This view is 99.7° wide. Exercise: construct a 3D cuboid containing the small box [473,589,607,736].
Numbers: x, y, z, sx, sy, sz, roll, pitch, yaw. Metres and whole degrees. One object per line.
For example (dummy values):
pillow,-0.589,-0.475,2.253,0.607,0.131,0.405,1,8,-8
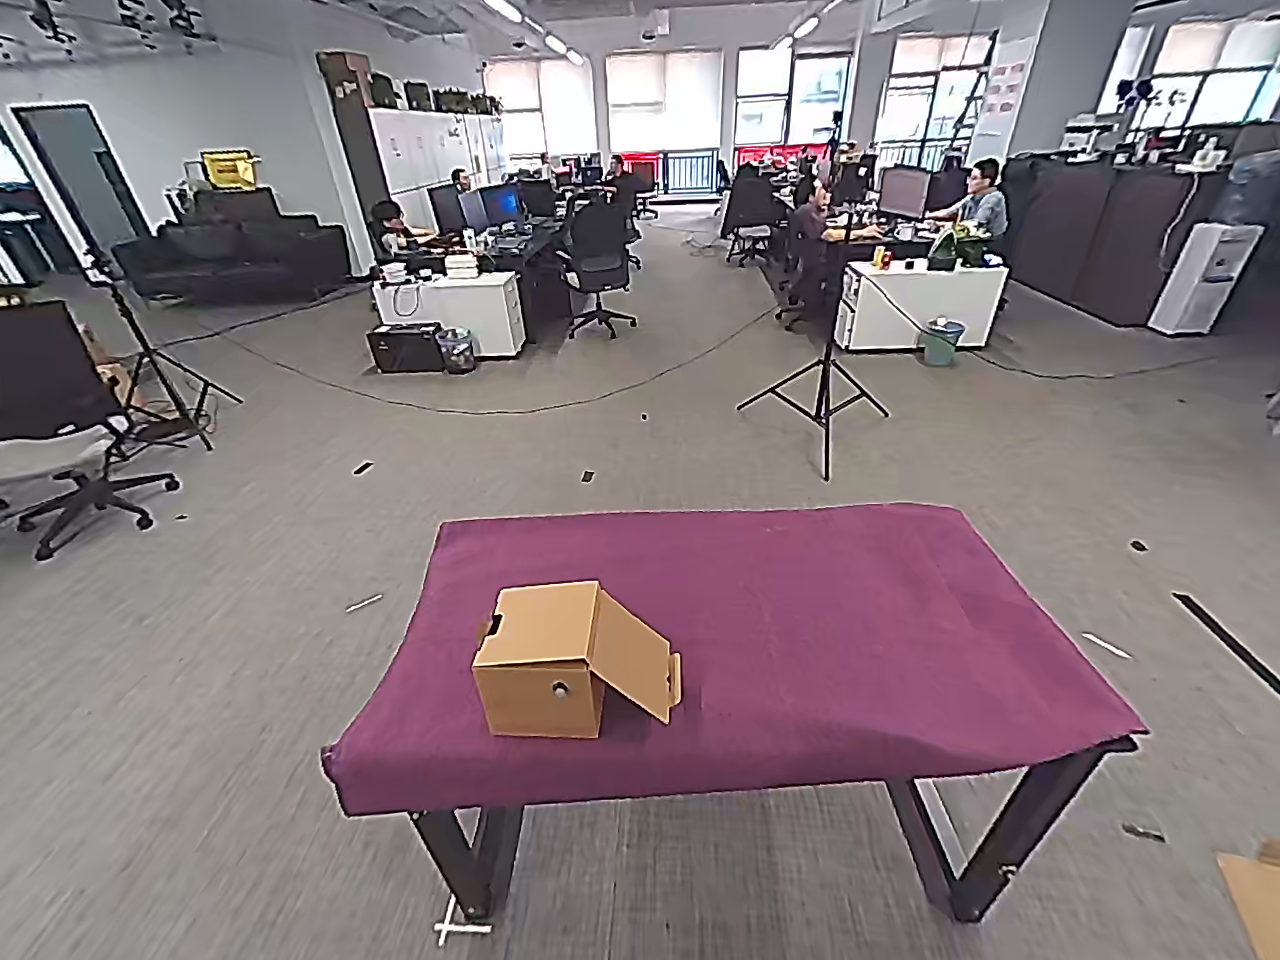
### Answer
small box,-0.151,0.300,0.894,0.179,0.176,0.168,-1,31,4
